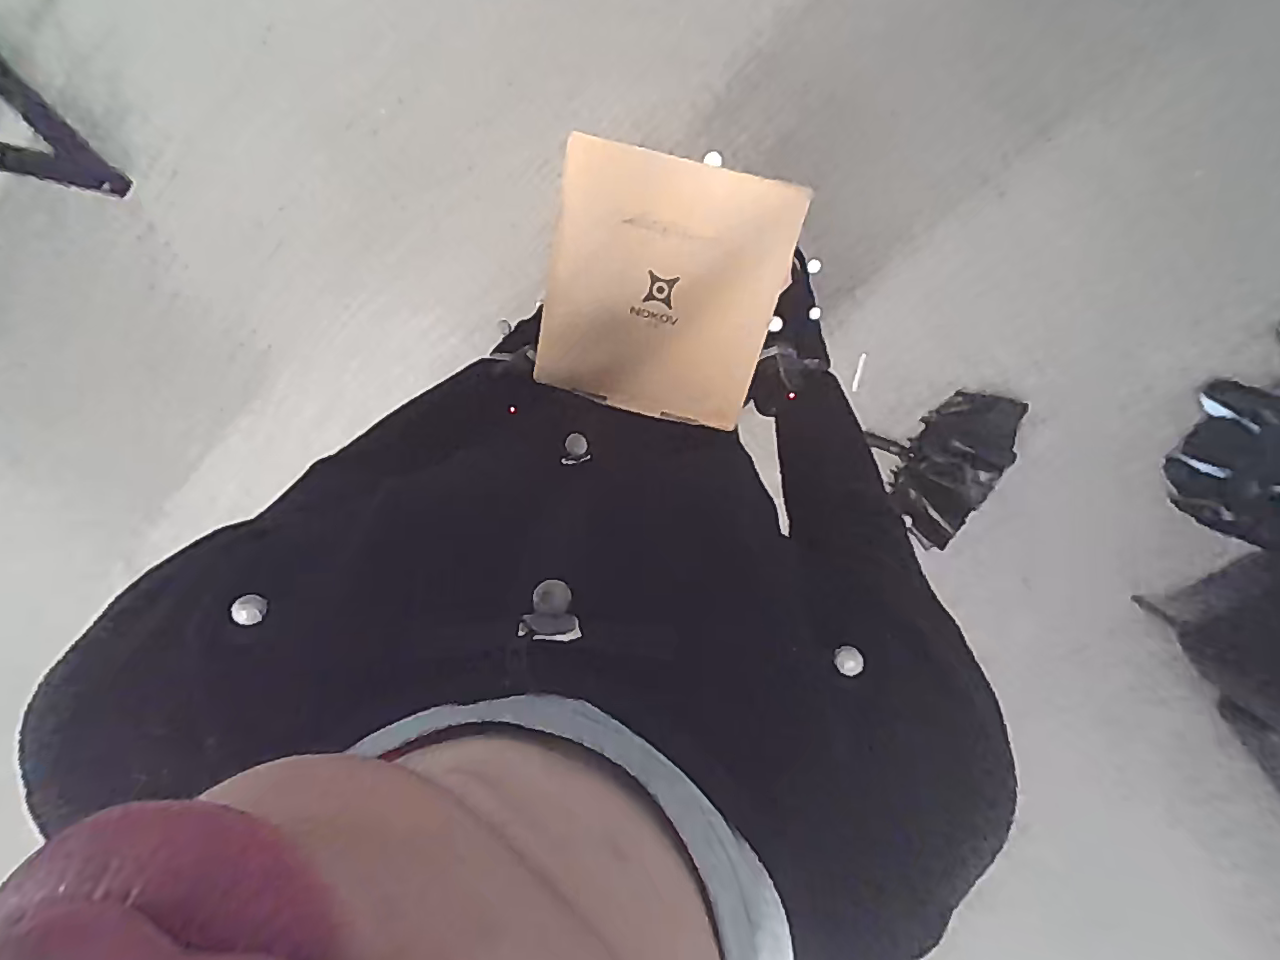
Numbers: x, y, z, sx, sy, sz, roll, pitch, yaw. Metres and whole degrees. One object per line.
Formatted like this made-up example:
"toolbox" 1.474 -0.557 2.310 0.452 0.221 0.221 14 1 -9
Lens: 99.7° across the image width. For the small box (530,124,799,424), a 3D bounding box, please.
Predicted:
"small box" 0.017 -0.171 0.458 0.168 0.176 0.179 13 116 0
